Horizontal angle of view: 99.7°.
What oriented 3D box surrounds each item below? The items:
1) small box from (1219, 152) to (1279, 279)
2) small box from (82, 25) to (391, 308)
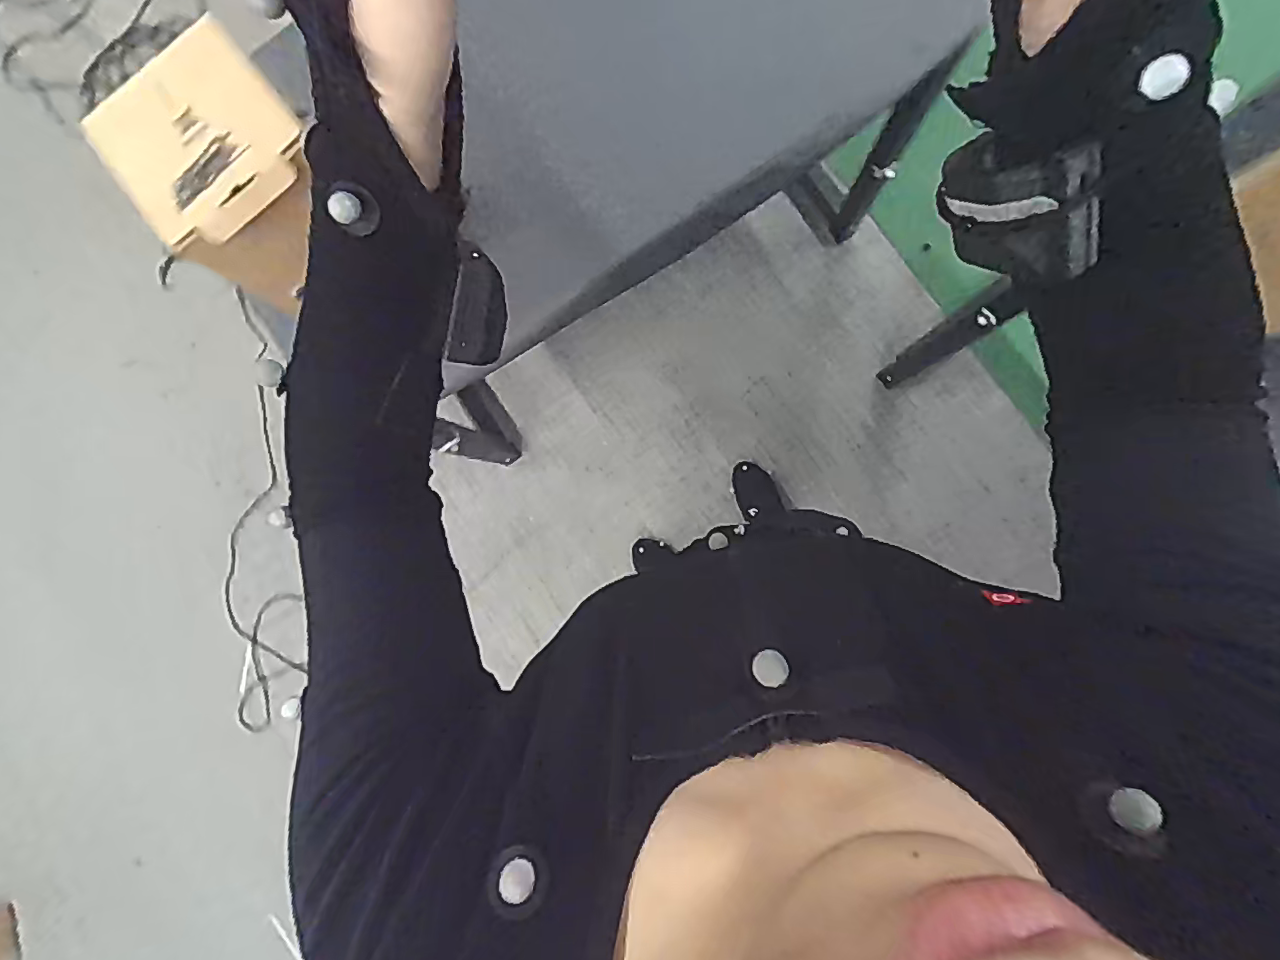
[{"bbox_3d":[0.715,-0.276,0.484,0.168,0.176,0.179,-36,85,3],"label":"small box"},{"bbox_3d":[-0.415,-0.313,0.587,0.168,0.176,0.179,-40,82,1],"label":"small box"}]
